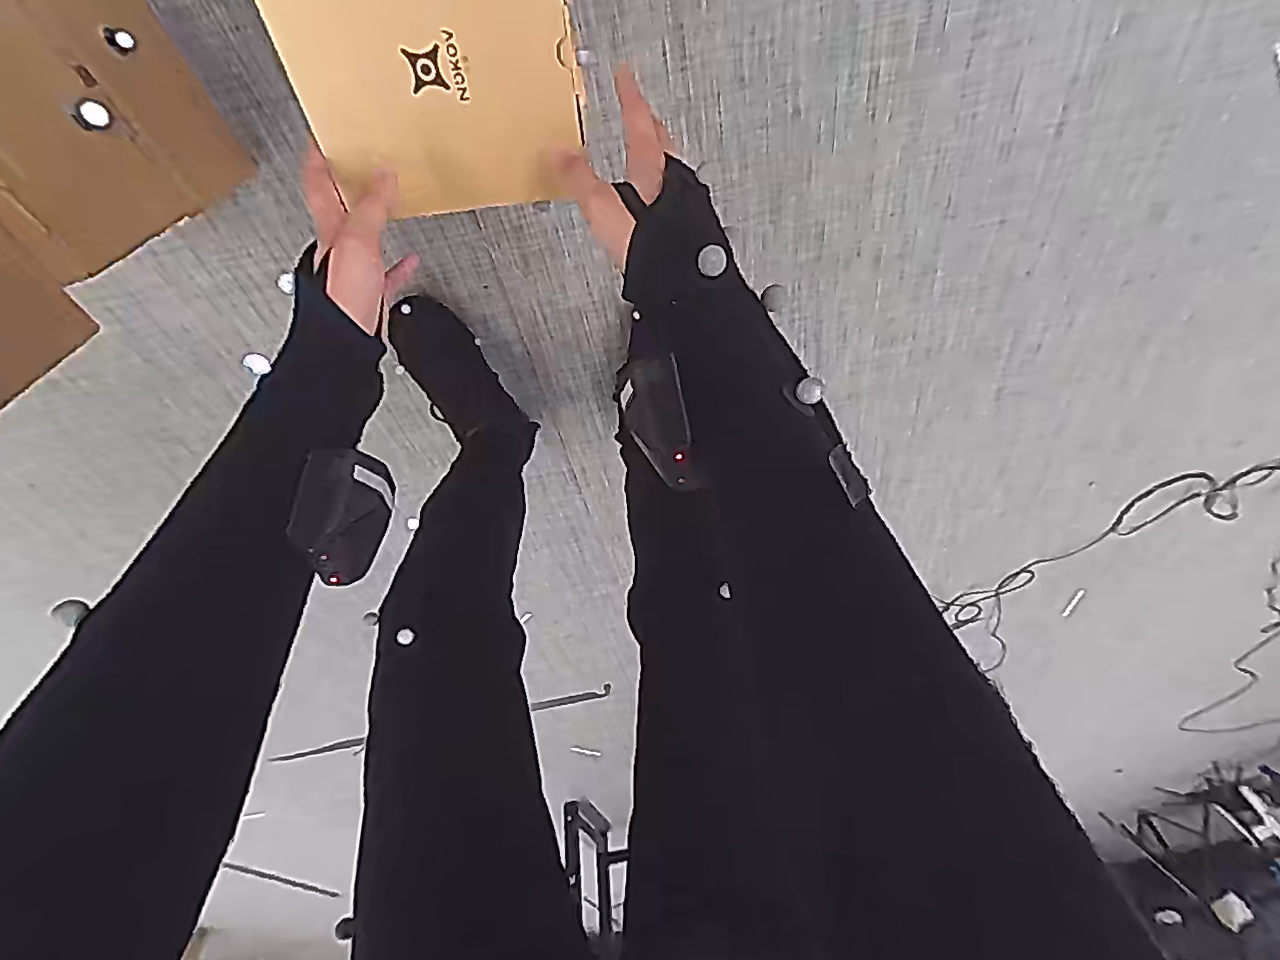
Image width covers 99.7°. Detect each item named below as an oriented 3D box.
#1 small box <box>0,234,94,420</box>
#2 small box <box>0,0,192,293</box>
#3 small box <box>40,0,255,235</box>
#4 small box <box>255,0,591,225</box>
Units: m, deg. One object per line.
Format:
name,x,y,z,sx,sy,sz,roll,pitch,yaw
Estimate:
small box,-0.494,-0.099,0.300,0.168,0.176,0.179,-12,135,4
small box,-0.501,-0.232,0.400,0.179,0.176,0.168,-15,134,7
small box,-0.531,-0.339,0.522,0.168,0.176,0.179,-14,134,6
small box,-0.135,-0.305,0.389,0.179,0.176,0.168,-9,134,-1
